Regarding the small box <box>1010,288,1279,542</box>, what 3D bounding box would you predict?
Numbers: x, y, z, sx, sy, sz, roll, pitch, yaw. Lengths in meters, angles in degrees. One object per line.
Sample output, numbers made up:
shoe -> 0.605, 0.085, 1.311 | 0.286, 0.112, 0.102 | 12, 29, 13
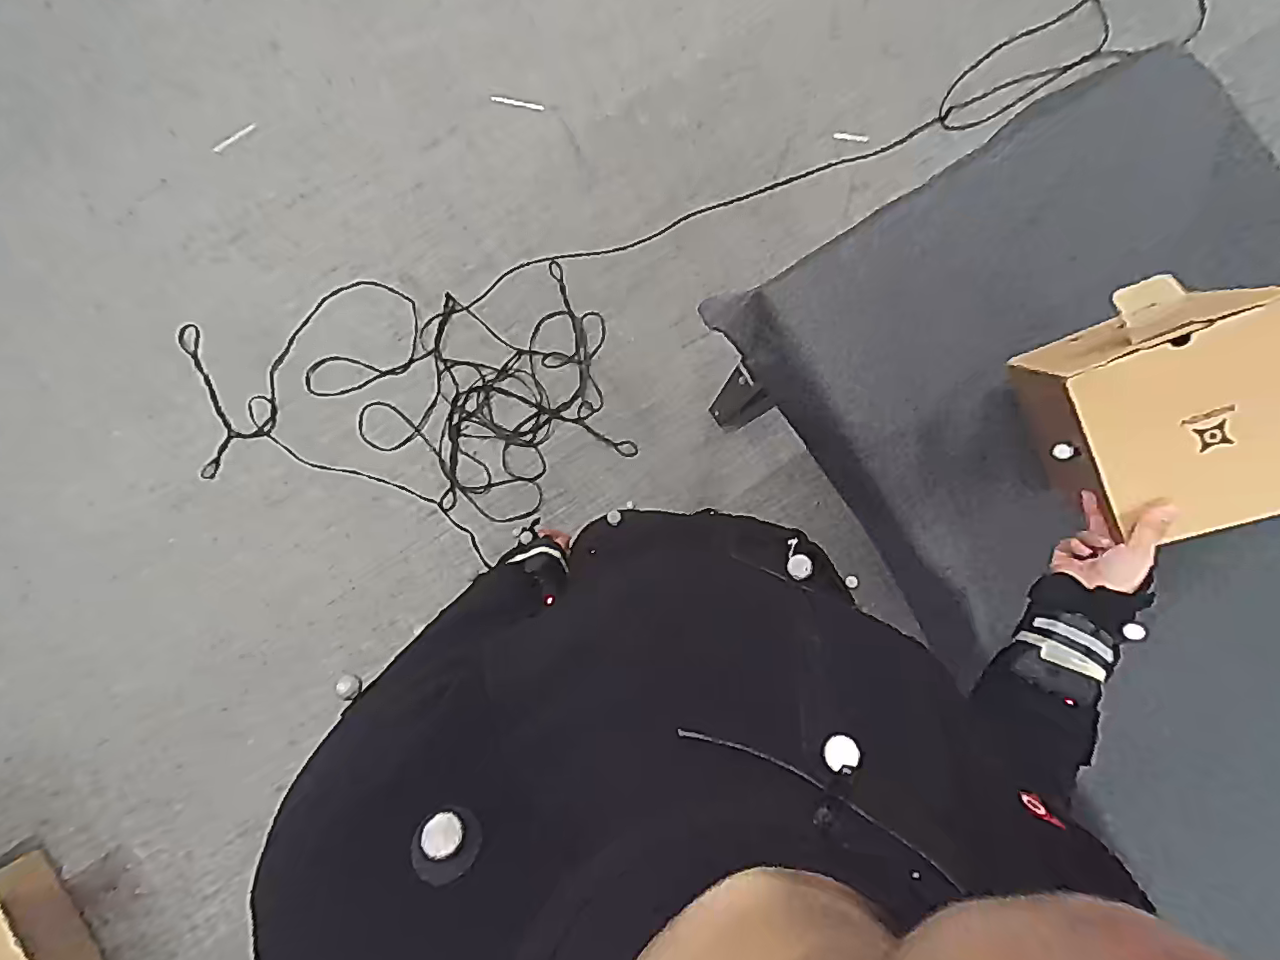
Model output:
small box -> 0.501, -0.068, 0.526 | 0.168, 0.176, 0.179 | -23, 96, 21
